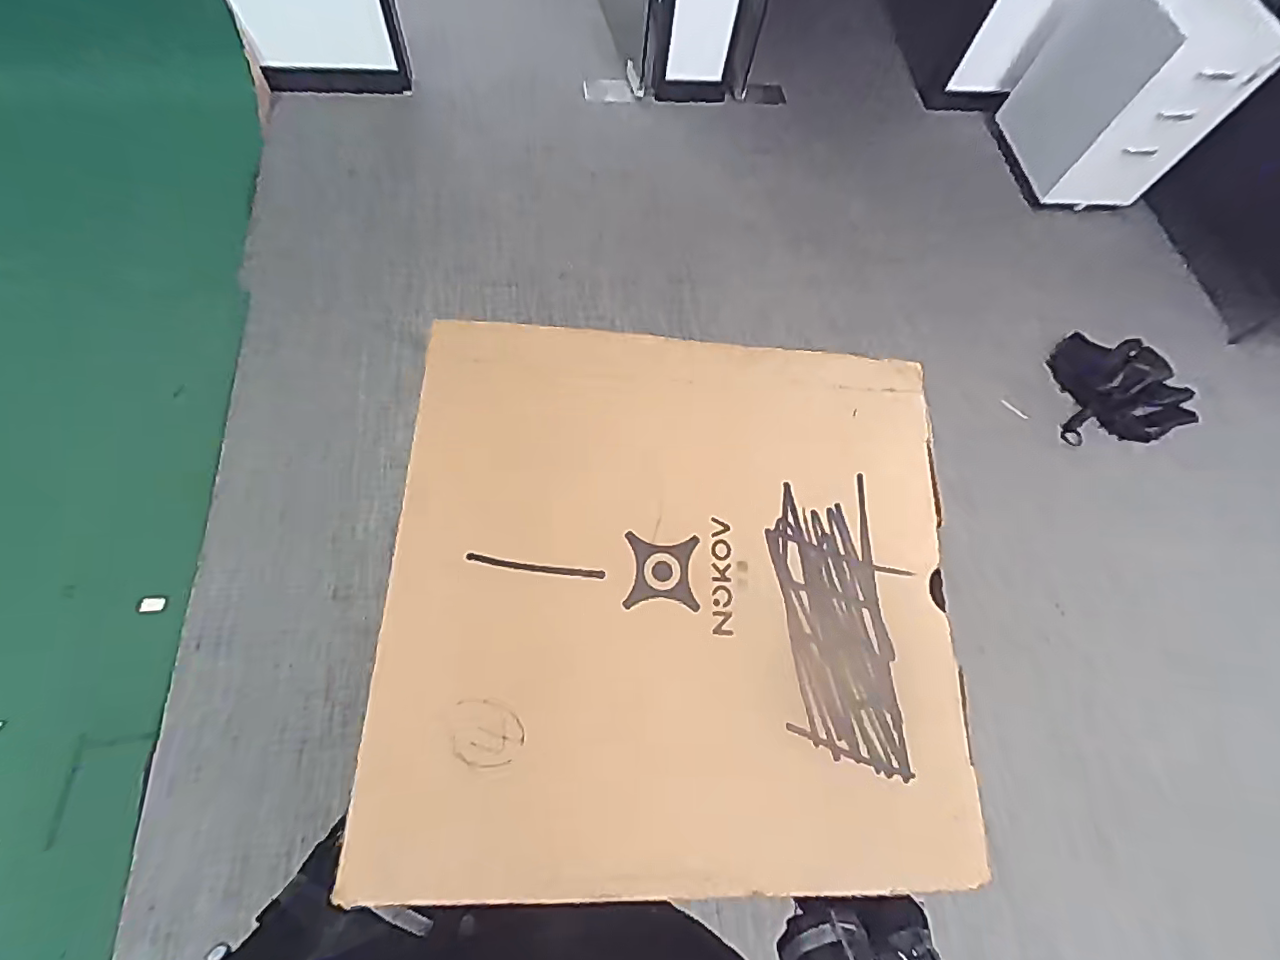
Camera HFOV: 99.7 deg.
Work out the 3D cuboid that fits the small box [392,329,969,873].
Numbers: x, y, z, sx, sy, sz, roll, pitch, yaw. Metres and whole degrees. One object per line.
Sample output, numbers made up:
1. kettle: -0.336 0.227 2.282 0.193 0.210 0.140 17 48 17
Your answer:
1. small box: 0.004 0.051 0.254 0.179 0.176 0.168 1 72 -9
